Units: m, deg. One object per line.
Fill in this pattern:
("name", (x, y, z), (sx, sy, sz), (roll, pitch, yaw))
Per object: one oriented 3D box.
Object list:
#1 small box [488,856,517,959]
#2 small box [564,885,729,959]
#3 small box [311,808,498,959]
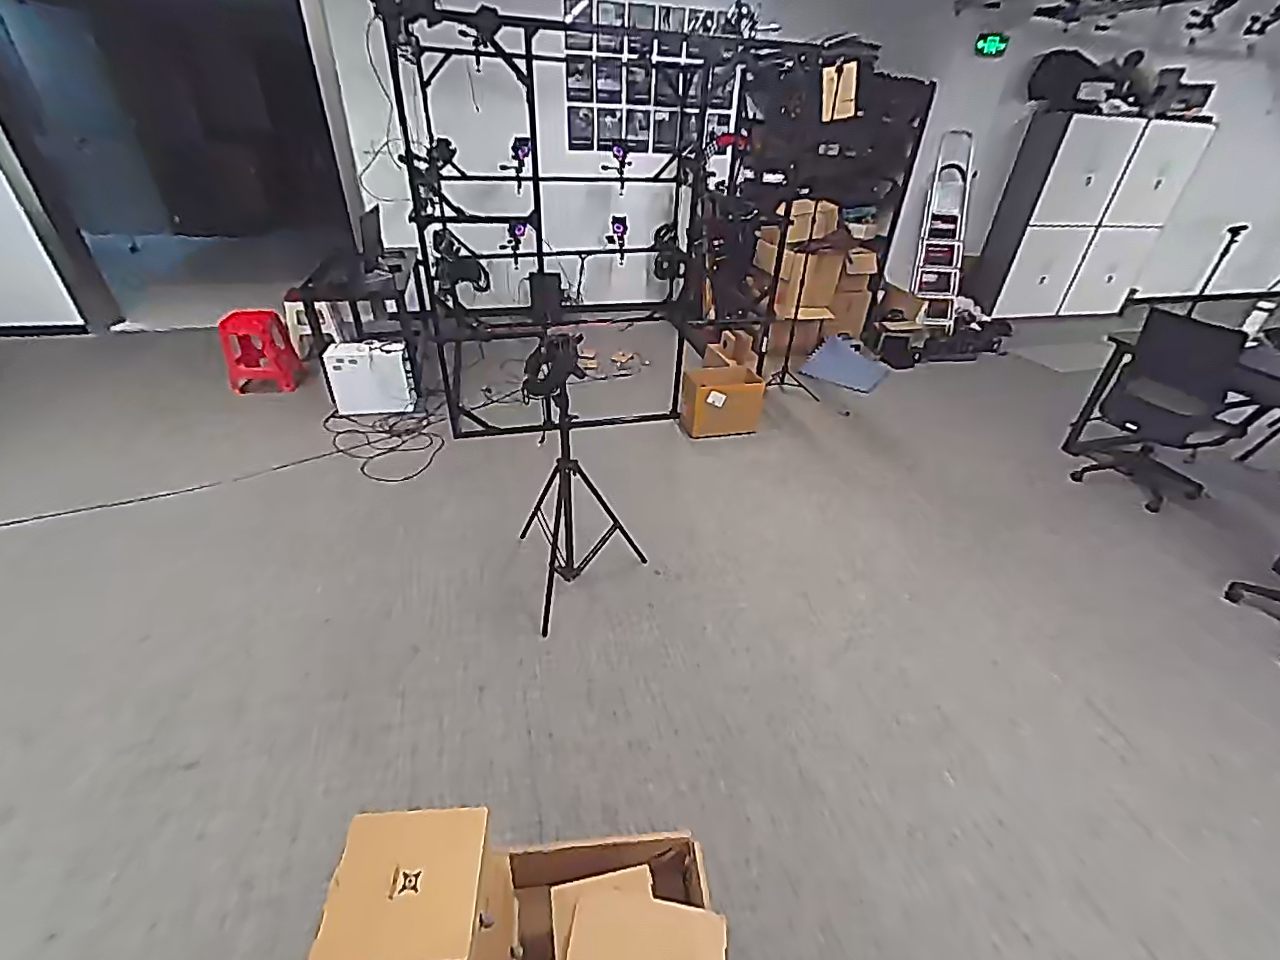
("small box", (-0.269, 0.691, 0.786), (0.168, 0.176, 0.179), (-2, 33, -9))
("small box", (-0.007, 0.589, 0.589), (0.179, 0.176, 0.168), (12, 32, 1))
("small box", (-0.283, 0.553, 0.695), (0.179, 0.176, 0.168), (-1, 33, -7))
